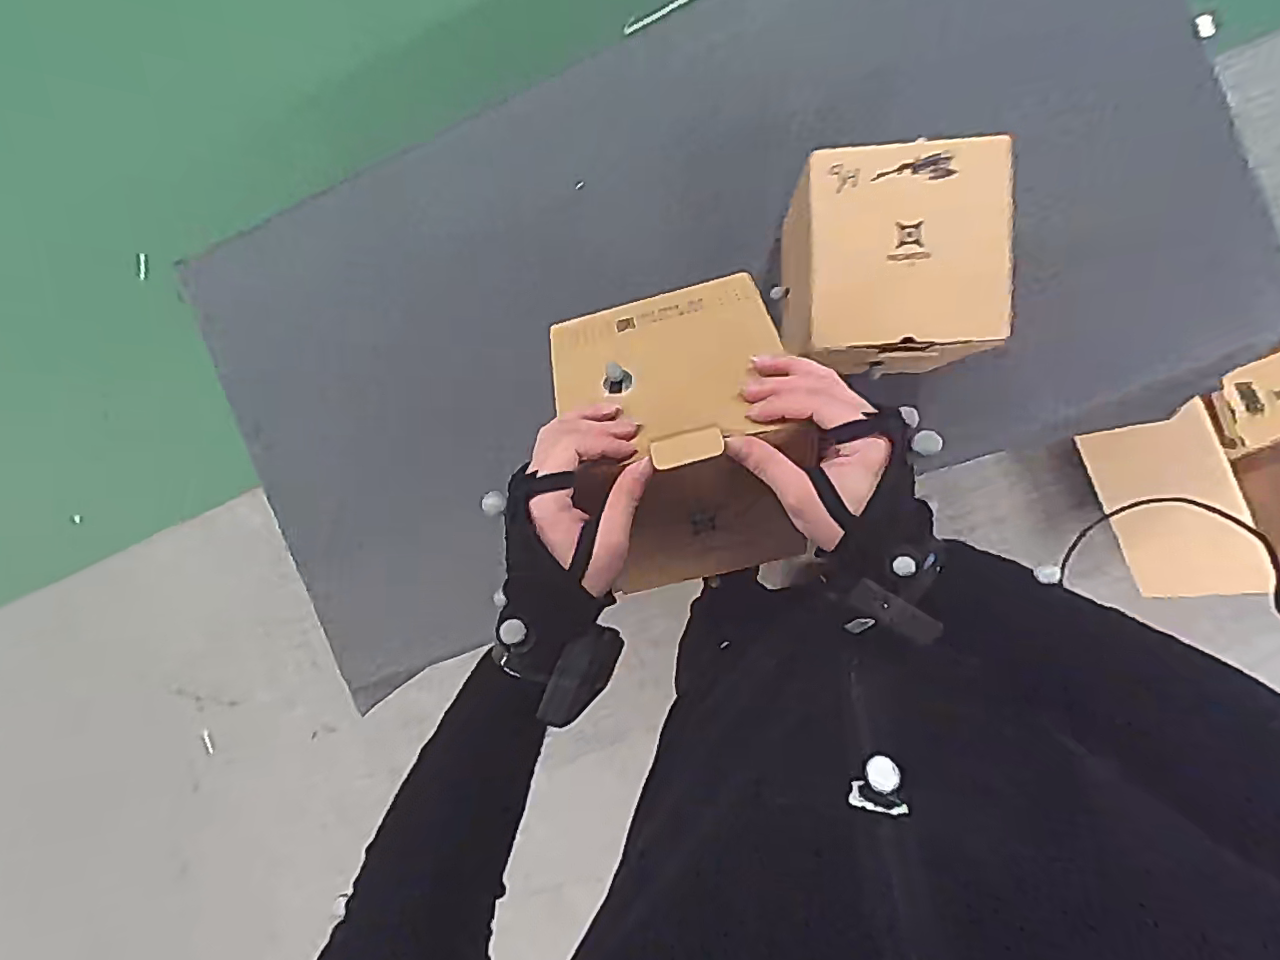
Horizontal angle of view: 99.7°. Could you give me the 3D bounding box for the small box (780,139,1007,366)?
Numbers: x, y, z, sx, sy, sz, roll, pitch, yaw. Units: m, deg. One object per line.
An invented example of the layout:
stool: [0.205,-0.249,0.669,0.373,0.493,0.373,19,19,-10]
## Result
small box: [0.241,-0.212,0.555,0.168,0.176,0.179,0,94,6]

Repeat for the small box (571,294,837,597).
small box: [0.047,-0.029,0.446,0.168,0.179,0.176,-13,54,6]
